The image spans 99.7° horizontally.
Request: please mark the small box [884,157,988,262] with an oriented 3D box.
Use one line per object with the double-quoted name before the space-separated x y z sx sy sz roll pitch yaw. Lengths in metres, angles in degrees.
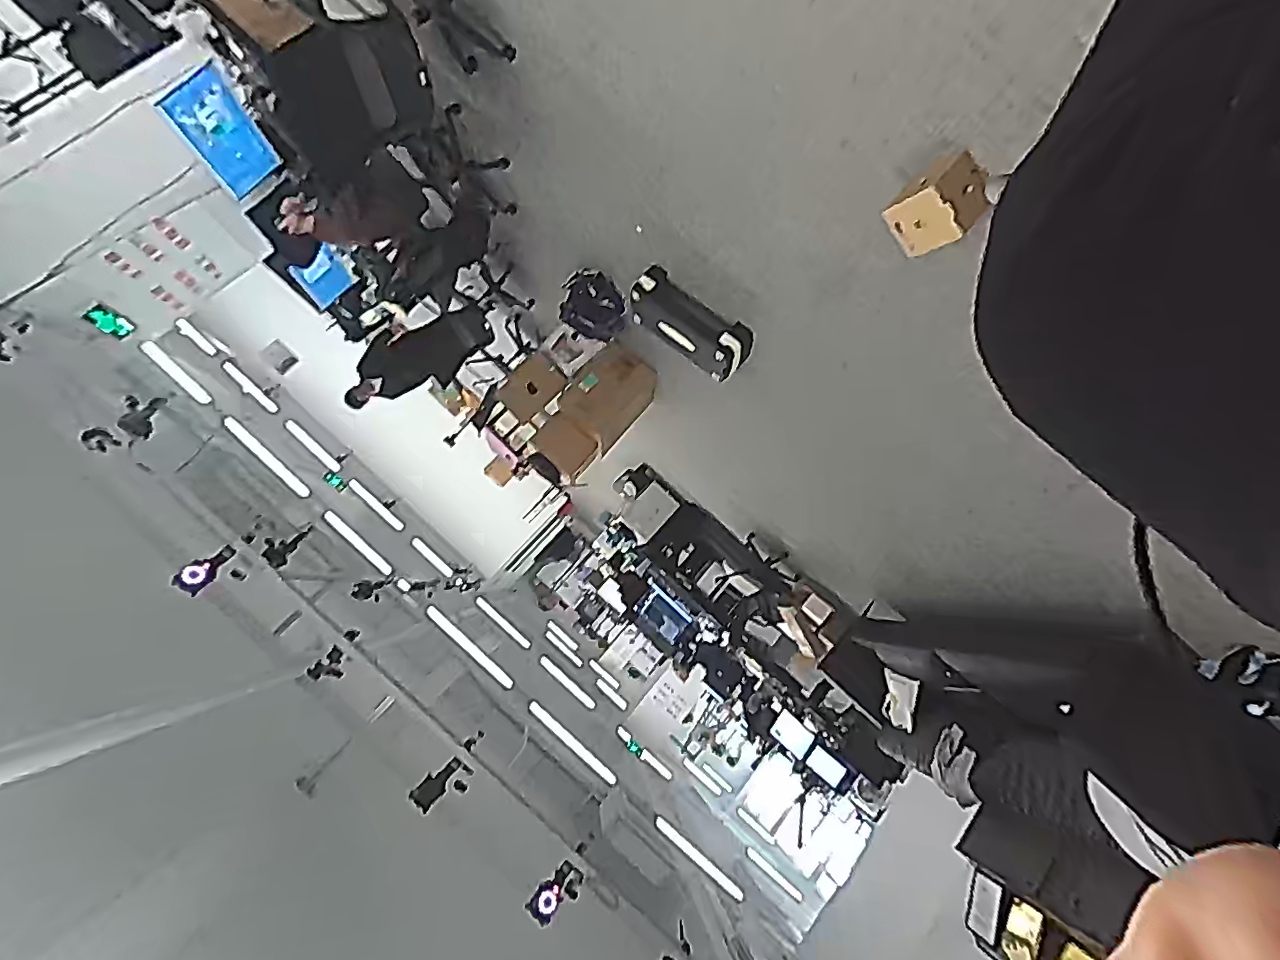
"small box" 0.829 -0.751 1.504 0.168 0.176 0.179 45 166 -17
